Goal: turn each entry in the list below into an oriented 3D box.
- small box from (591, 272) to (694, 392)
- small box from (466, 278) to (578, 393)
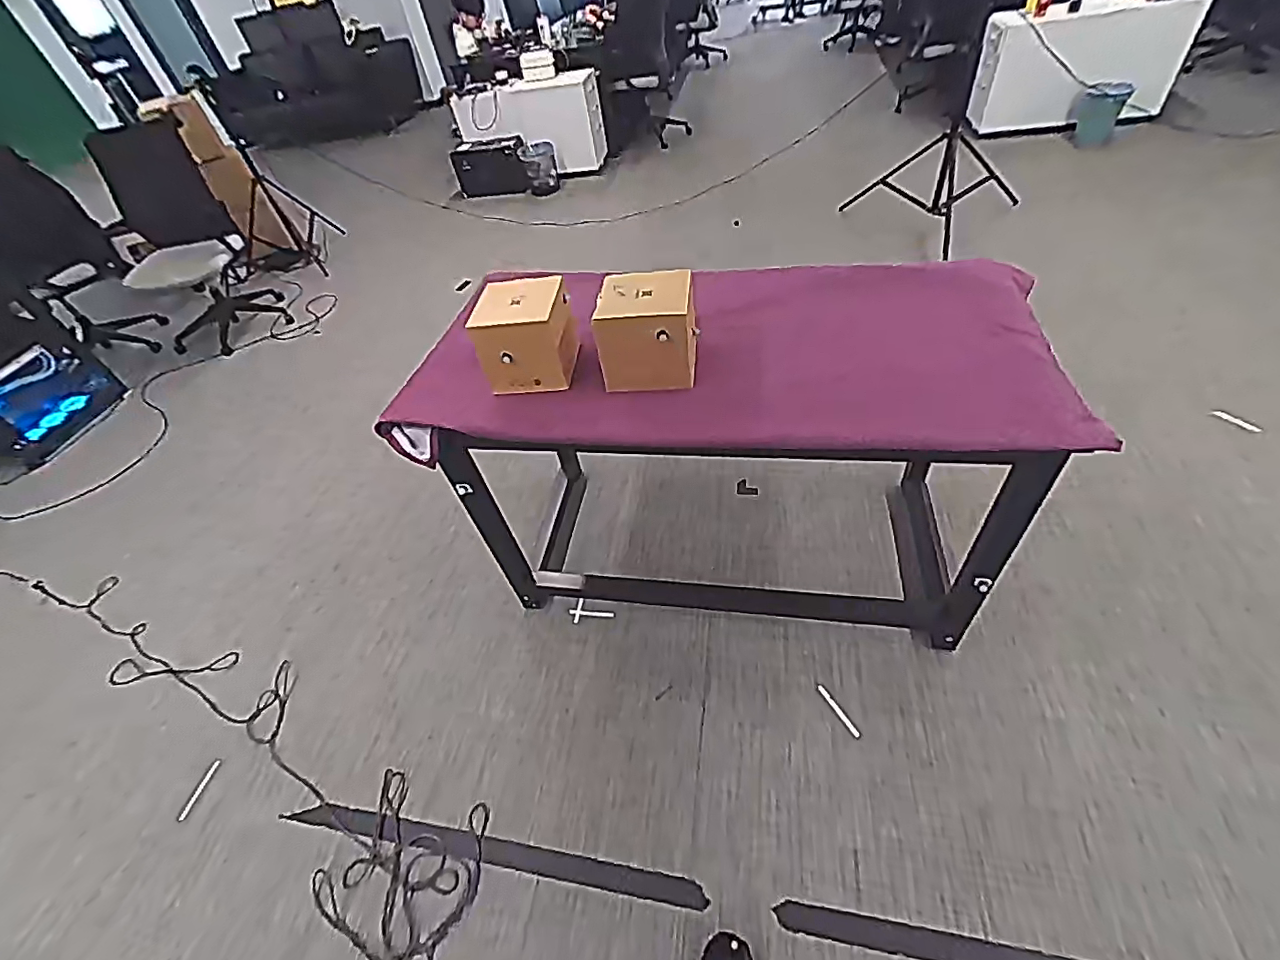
[{"bbox_3d":[0.015,-0.290,1.073,0.179,0.176,0.168,-1,46,9],"label":"small box"},{"bbox_3d":[-0.235,-0.294,1.129,0.168,0.176,0.179,-3,46,8],"label":"small box"}]
